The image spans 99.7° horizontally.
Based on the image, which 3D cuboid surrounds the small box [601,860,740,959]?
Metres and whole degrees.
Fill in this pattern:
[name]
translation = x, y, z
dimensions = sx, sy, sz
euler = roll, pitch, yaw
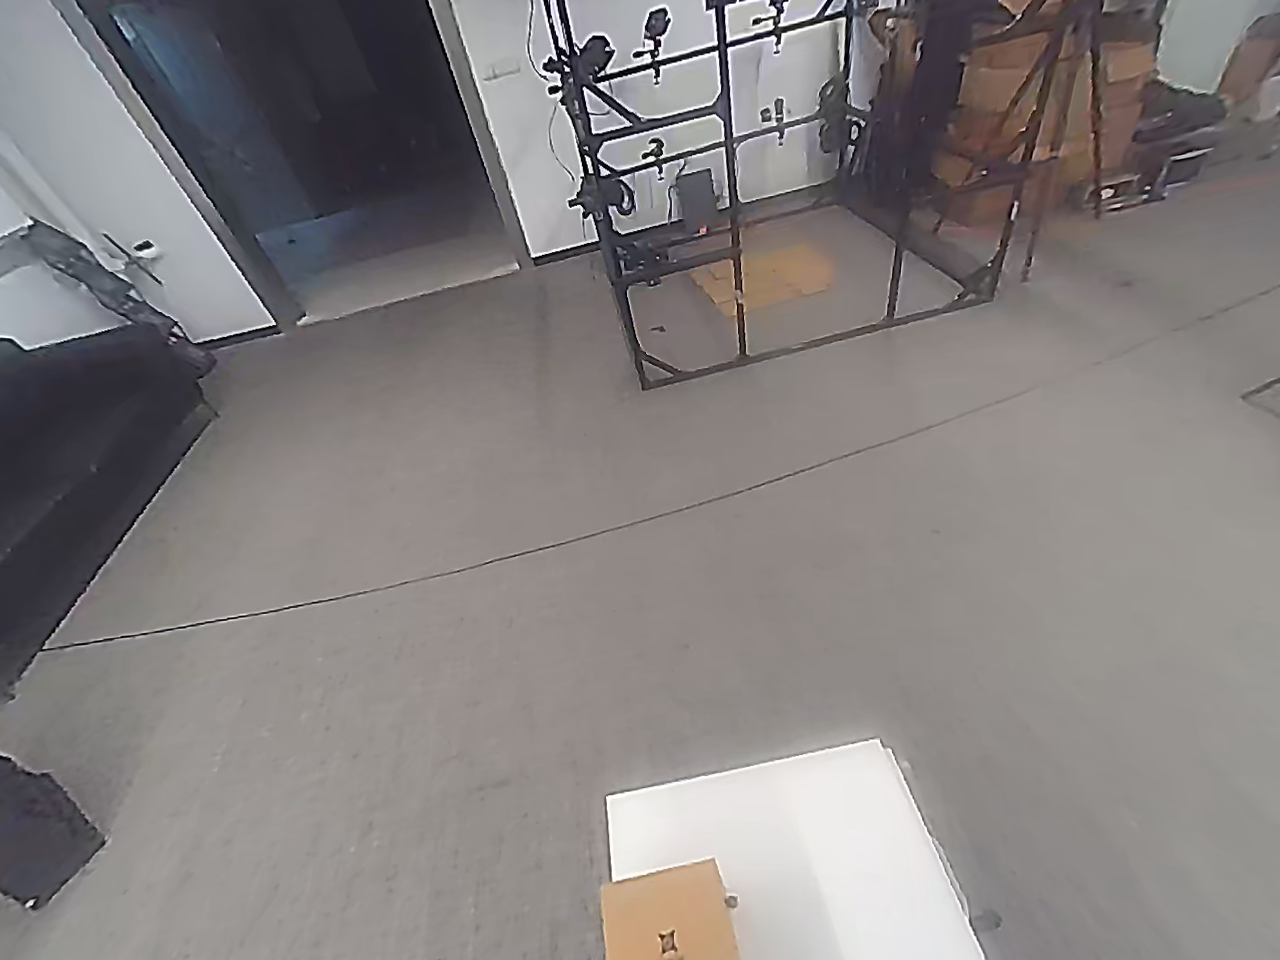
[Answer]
[small box]
translation = 0.049, 0.658, 0.740
dimensions = 0.168, 0.176, 0.179
euler = -14, 42, 2
